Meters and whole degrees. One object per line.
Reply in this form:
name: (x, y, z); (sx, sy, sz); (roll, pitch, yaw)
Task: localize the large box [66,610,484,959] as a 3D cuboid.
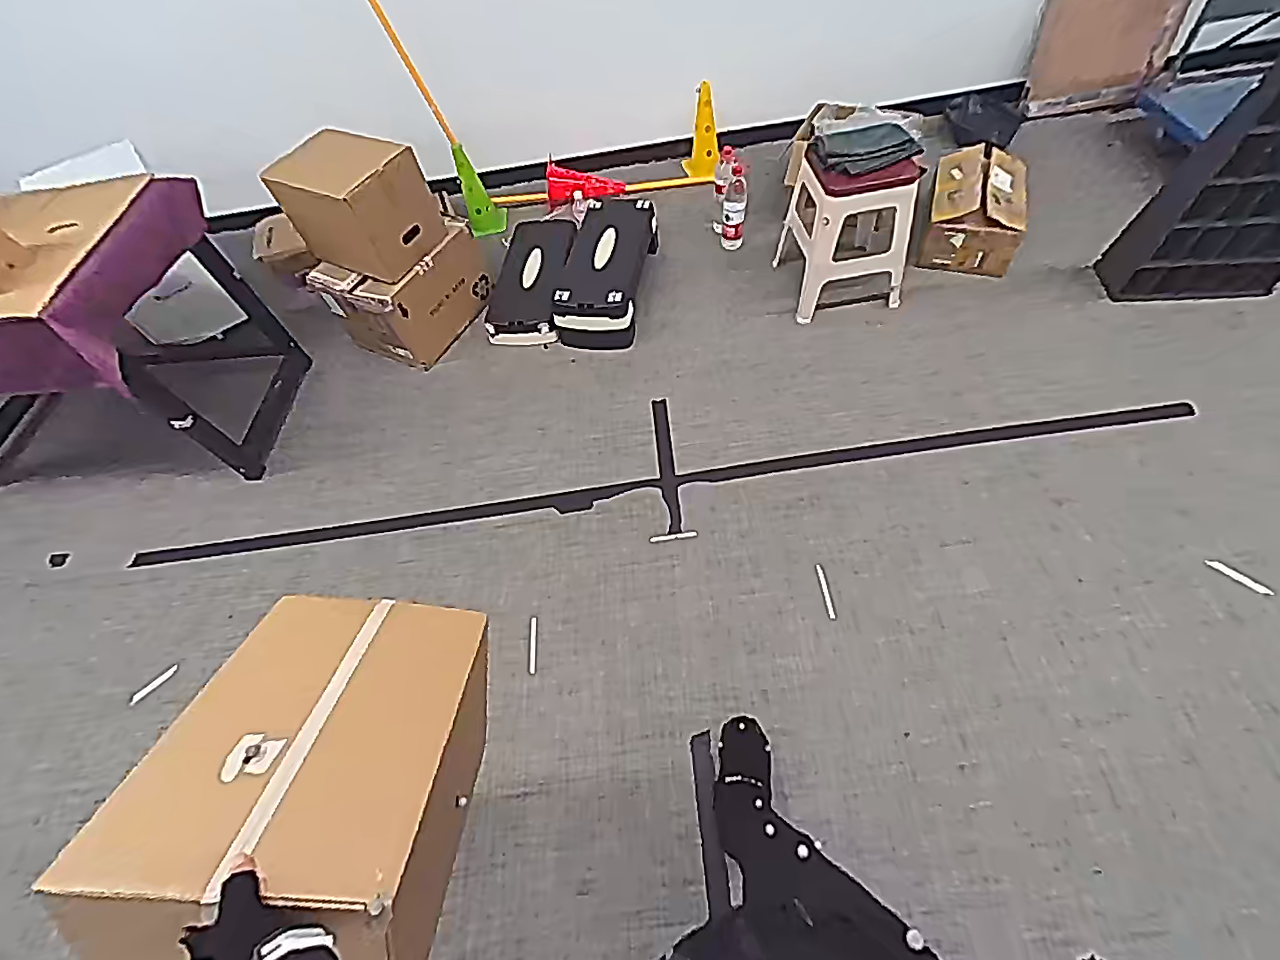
large box: (-0.415, 0.442, 0.758); (0.320, 0.320, 0.408); (5, 28, -4)
